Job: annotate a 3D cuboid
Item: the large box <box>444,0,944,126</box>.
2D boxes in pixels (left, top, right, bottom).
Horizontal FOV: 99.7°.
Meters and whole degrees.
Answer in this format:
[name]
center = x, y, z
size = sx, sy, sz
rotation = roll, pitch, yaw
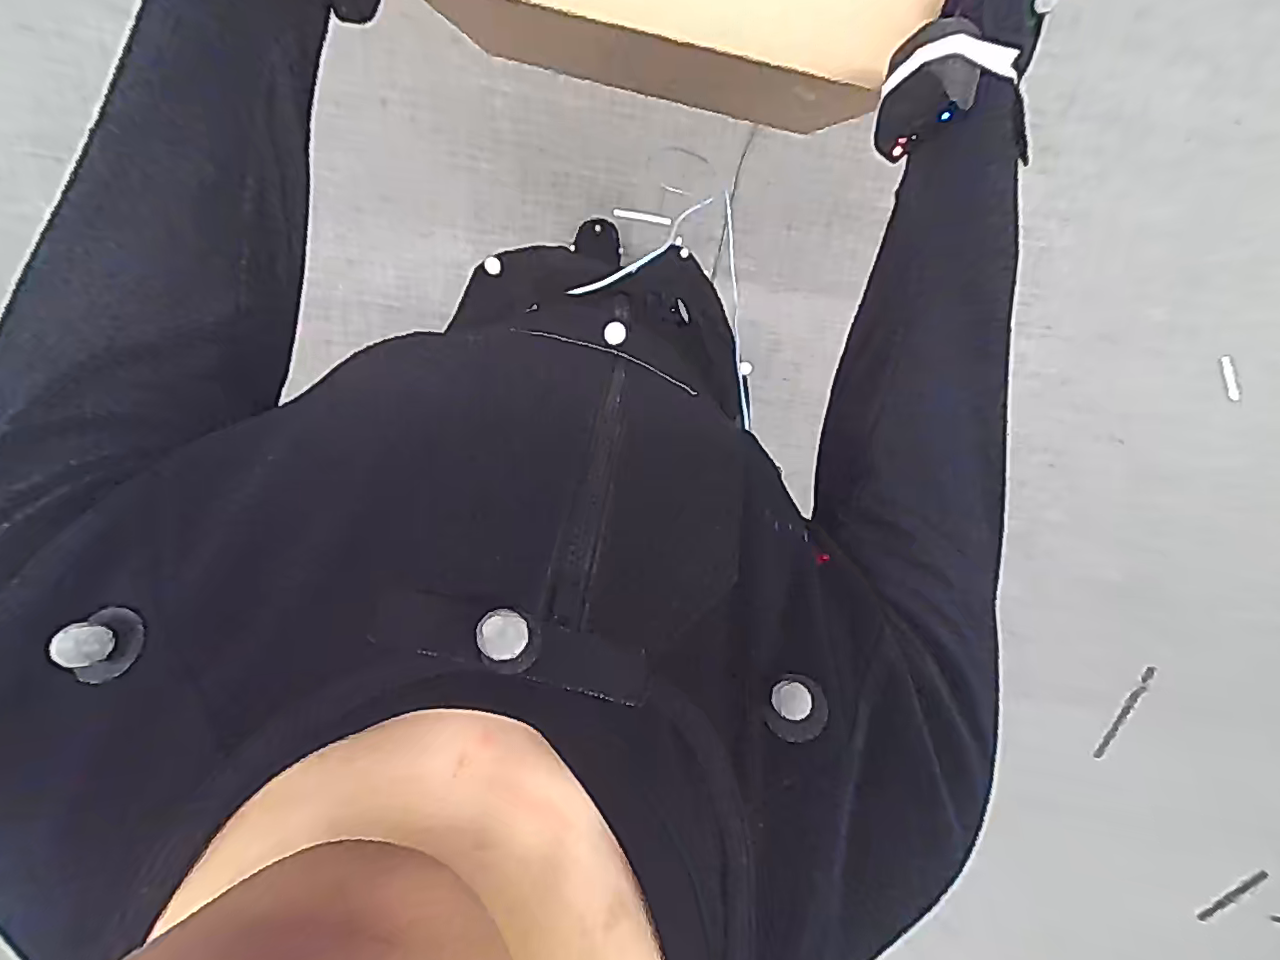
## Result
[large box]
center = 0.046, -0.537, 0.460
size = 0.408, 0.320, 0.320
rotation = 11, 119, -5
